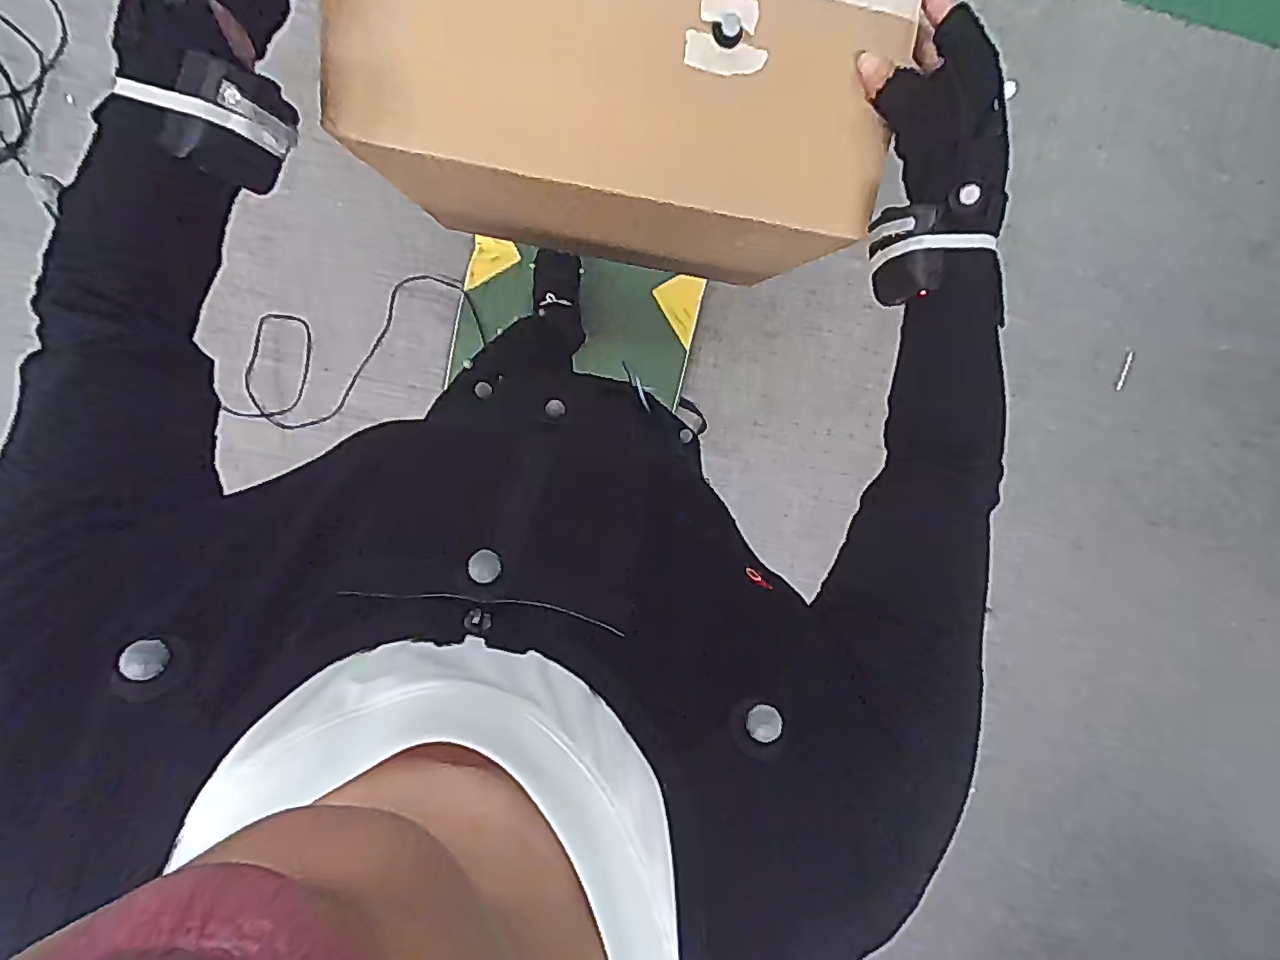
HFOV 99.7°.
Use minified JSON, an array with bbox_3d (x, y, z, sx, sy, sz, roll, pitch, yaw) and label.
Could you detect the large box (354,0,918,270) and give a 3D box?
[{"bbox_3d":[-0.005,-0.412,0.520,0.408,0.320,0.320,7,104,-8],"label":"large box"}]
